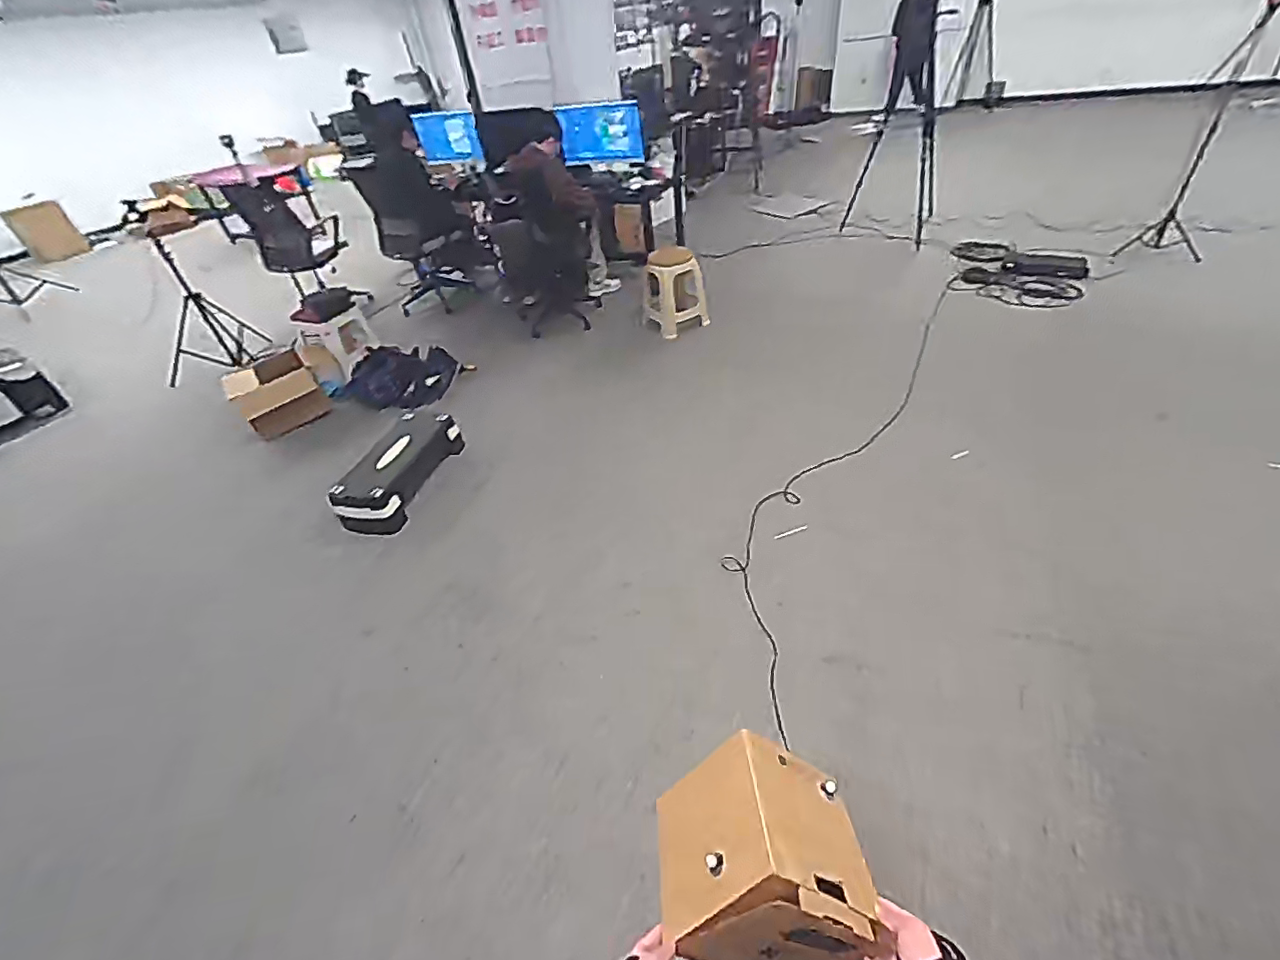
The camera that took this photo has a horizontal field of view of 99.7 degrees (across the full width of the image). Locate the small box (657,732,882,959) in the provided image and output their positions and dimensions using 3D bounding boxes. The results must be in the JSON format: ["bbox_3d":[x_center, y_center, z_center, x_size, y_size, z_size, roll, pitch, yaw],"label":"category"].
[{"bbox_3d":[0.130,0.432,0.624,0.168,0.179,0.176,35,20,-15],"label":"small box"}]
